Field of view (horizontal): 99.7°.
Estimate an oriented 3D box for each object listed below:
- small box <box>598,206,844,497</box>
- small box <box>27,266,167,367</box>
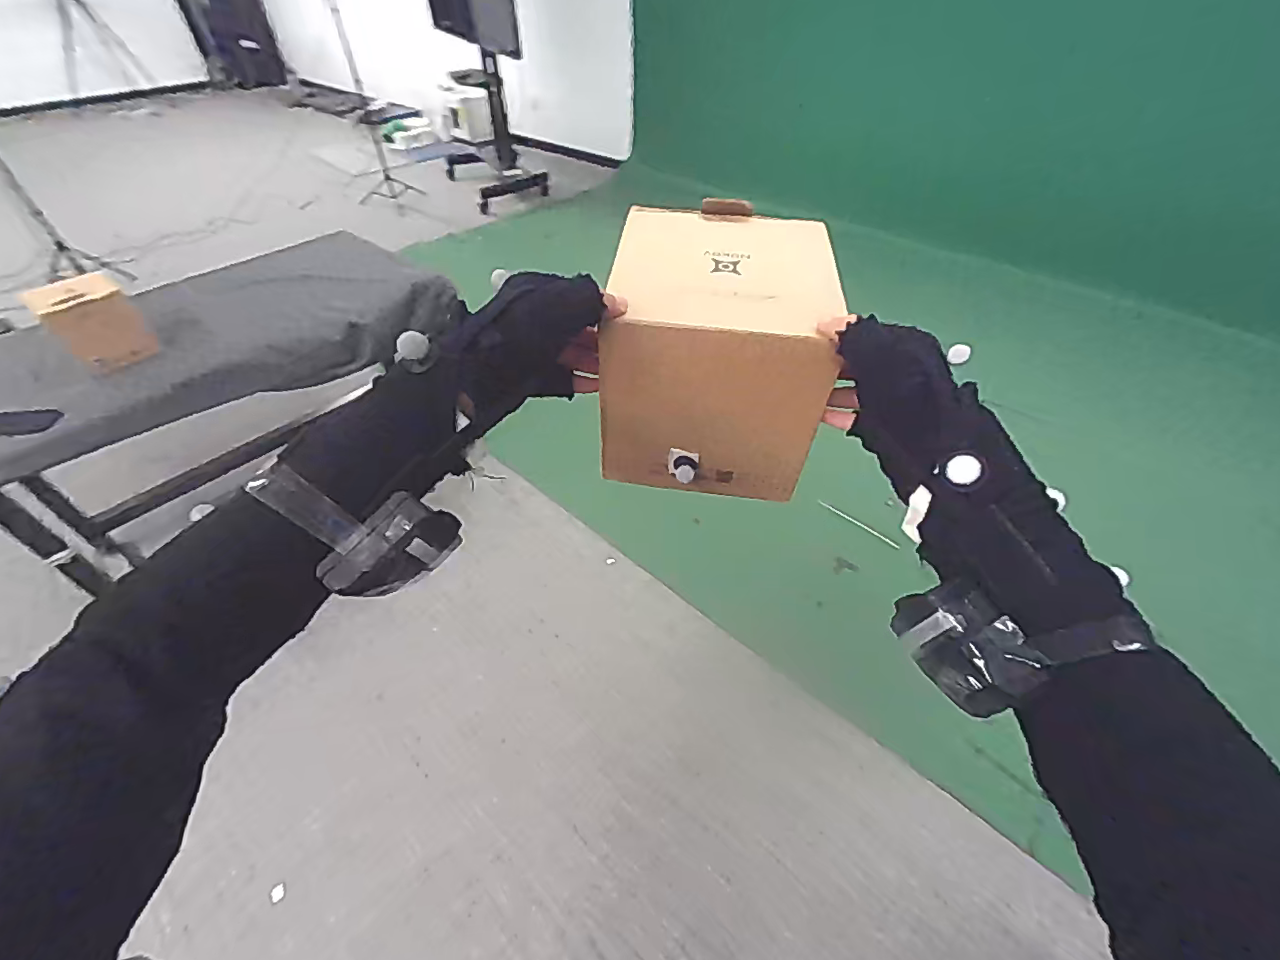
[{"bbox_3d":[0.057,-0.110,0.468,0.168,0.176,0.179,5,51,2],"label":"small box"},{"bbox_3d":[-1.332,-0.400,1.338,0.179,0.176,0.168,29,52,27],"label":"small box"}]
